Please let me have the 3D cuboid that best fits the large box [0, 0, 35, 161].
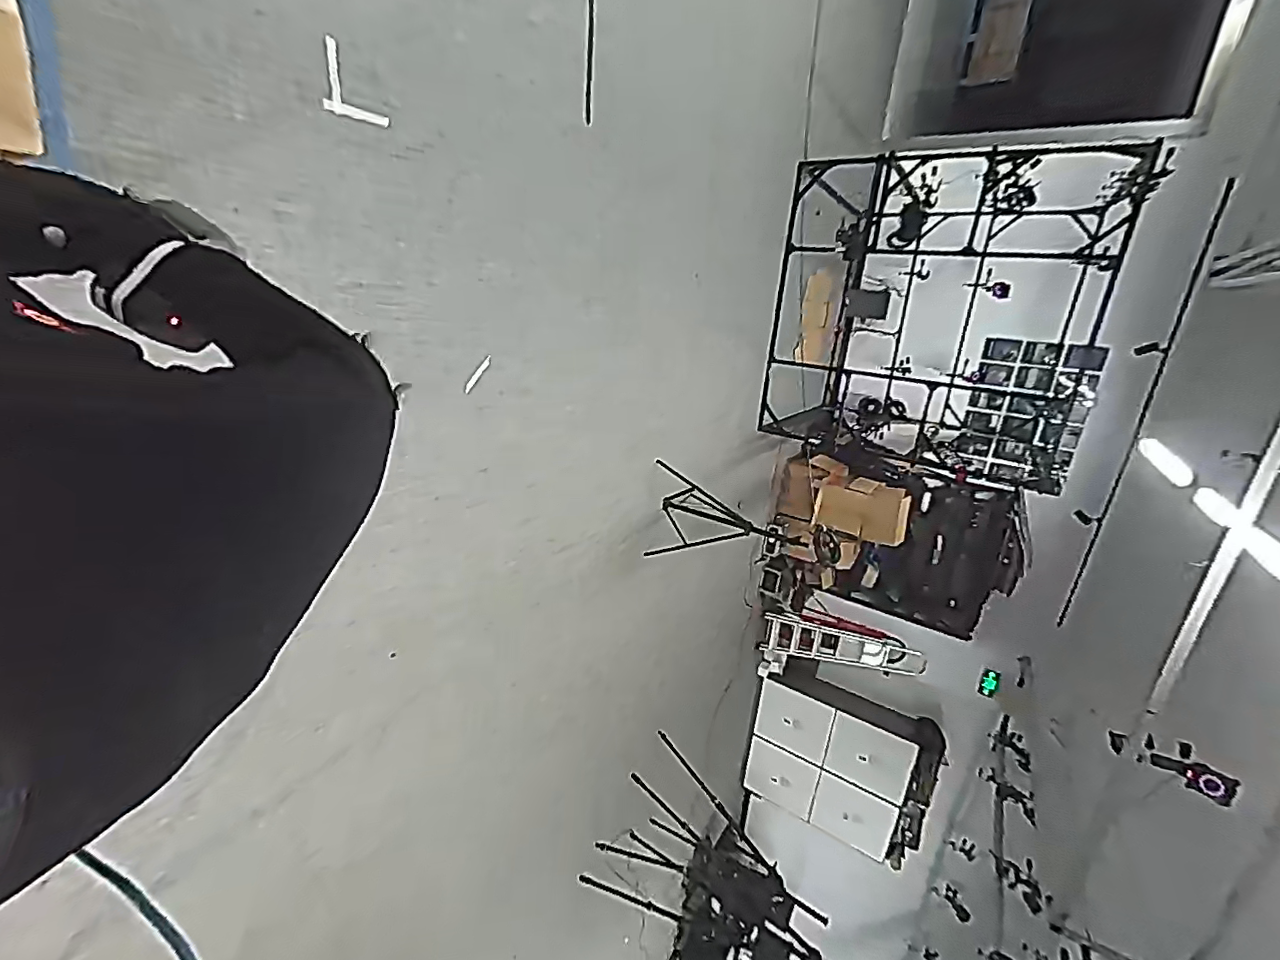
[{"bbox_3d":[-0.959,-0.533,0.527,0.408,0.320,0.320,-21,122,-57],"label":"large box"}]
